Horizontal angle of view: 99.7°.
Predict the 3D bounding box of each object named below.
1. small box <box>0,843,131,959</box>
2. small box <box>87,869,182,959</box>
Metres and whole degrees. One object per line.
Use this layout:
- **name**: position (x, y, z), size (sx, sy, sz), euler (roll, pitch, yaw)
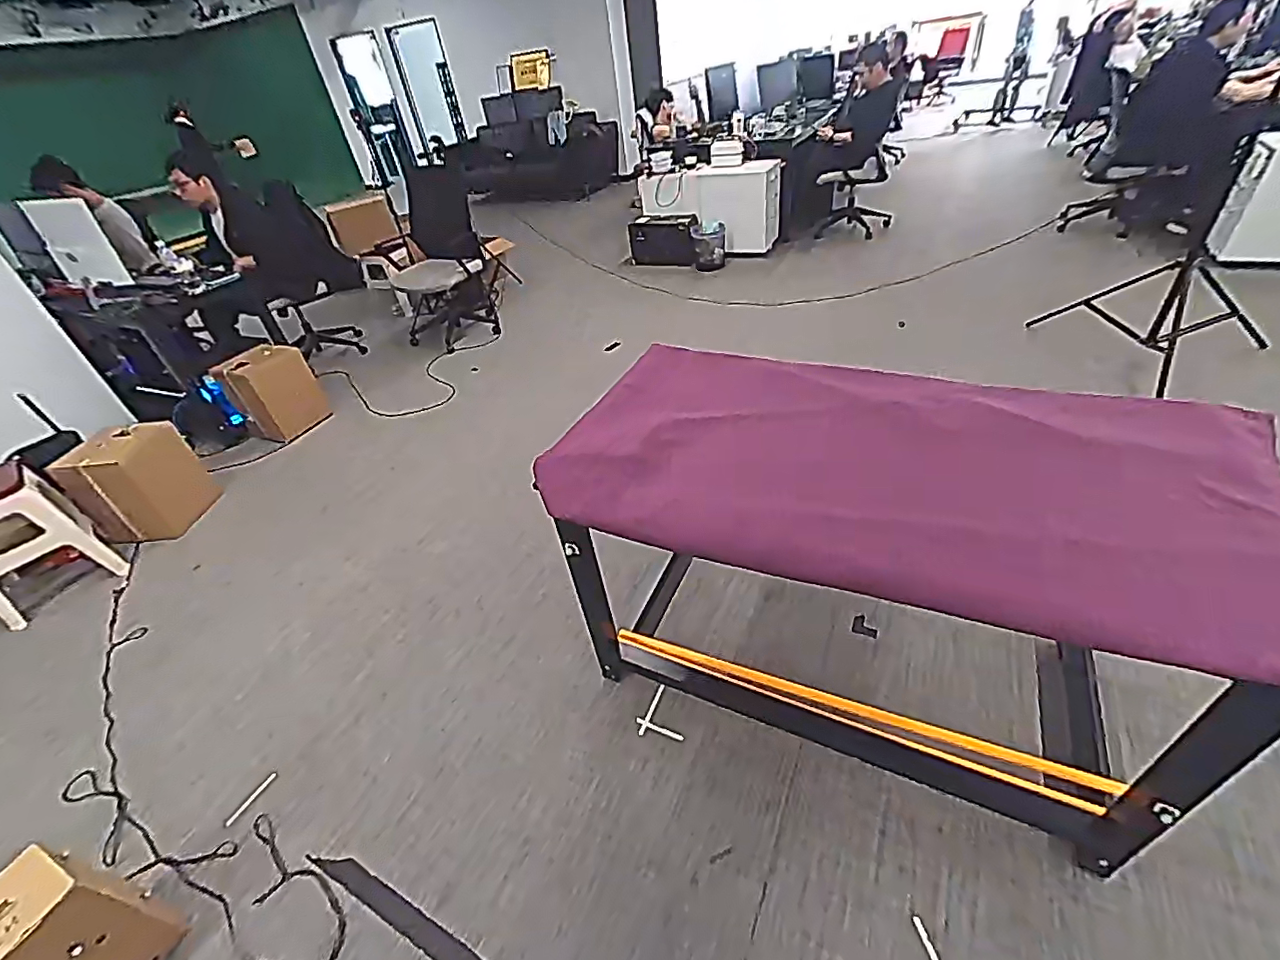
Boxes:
- **small box**: position (-1.153, 0.845, 1.033), size (0.179, 0.176, 0.168), euler (12, 43, 23)
- **small box**: position (-1.135, 0.973, 1.136), size (0.179, 0.176, 0.168), euler (13, 44, 24)
